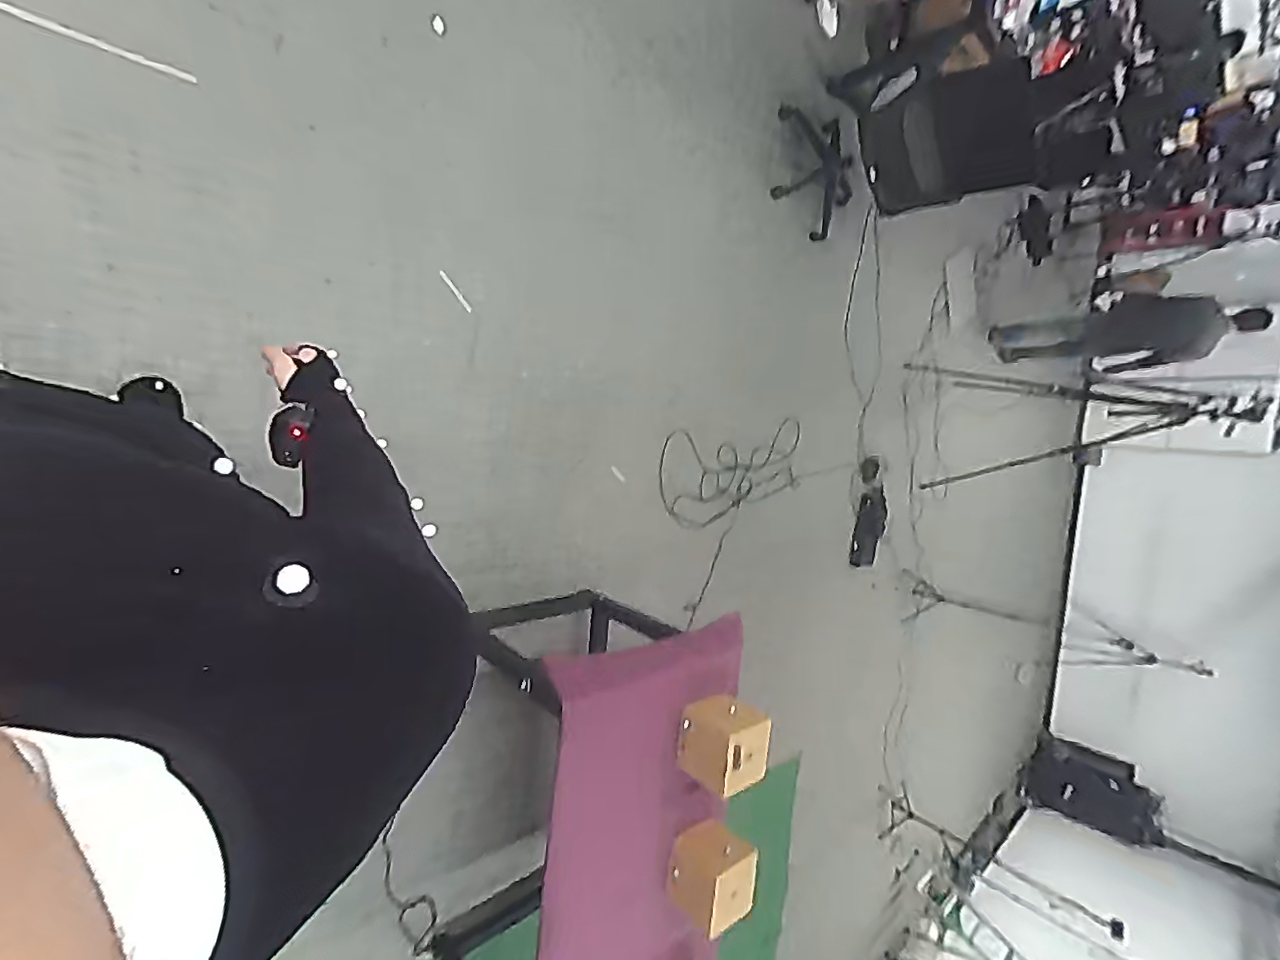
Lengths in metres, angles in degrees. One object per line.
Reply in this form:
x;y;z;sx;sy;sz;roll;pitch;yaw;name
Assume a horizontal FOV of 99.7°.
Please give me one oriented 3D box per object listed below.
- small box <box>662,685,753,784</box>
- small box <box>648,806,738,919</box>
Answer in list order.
0.181;0.686;1.480;0.179;0.176;0.168;3;96;-43;small box
0.148;1.061;1.521;0.179;0.176;0.168;5;93;-43;small box
